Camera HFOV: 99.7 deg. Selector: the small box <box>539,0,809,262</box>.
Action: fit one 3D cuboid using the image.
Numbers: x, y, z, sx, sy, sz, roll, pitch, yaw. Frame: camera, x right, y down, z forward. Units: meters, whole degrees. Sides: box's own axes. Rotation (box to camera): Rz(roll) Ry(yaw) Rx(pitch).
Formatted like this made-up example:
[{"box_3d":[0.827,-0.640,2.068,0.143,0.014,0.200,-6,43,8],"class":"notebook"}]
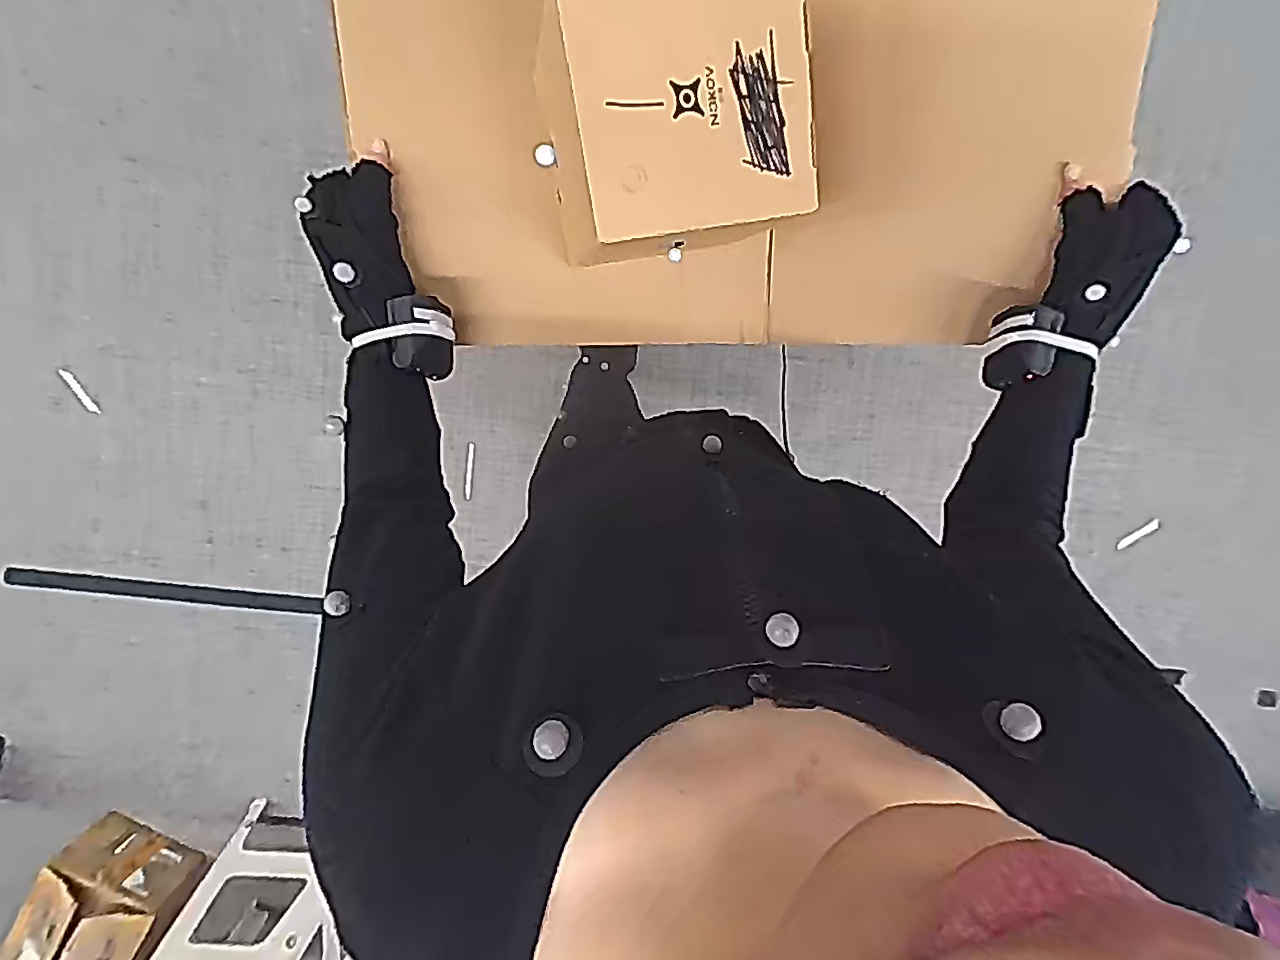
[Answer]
[{"box_3d":[0.020,-0.290,0.459,0.179,0.176,0.168,-13,107,-10],"class":"small box"}]
